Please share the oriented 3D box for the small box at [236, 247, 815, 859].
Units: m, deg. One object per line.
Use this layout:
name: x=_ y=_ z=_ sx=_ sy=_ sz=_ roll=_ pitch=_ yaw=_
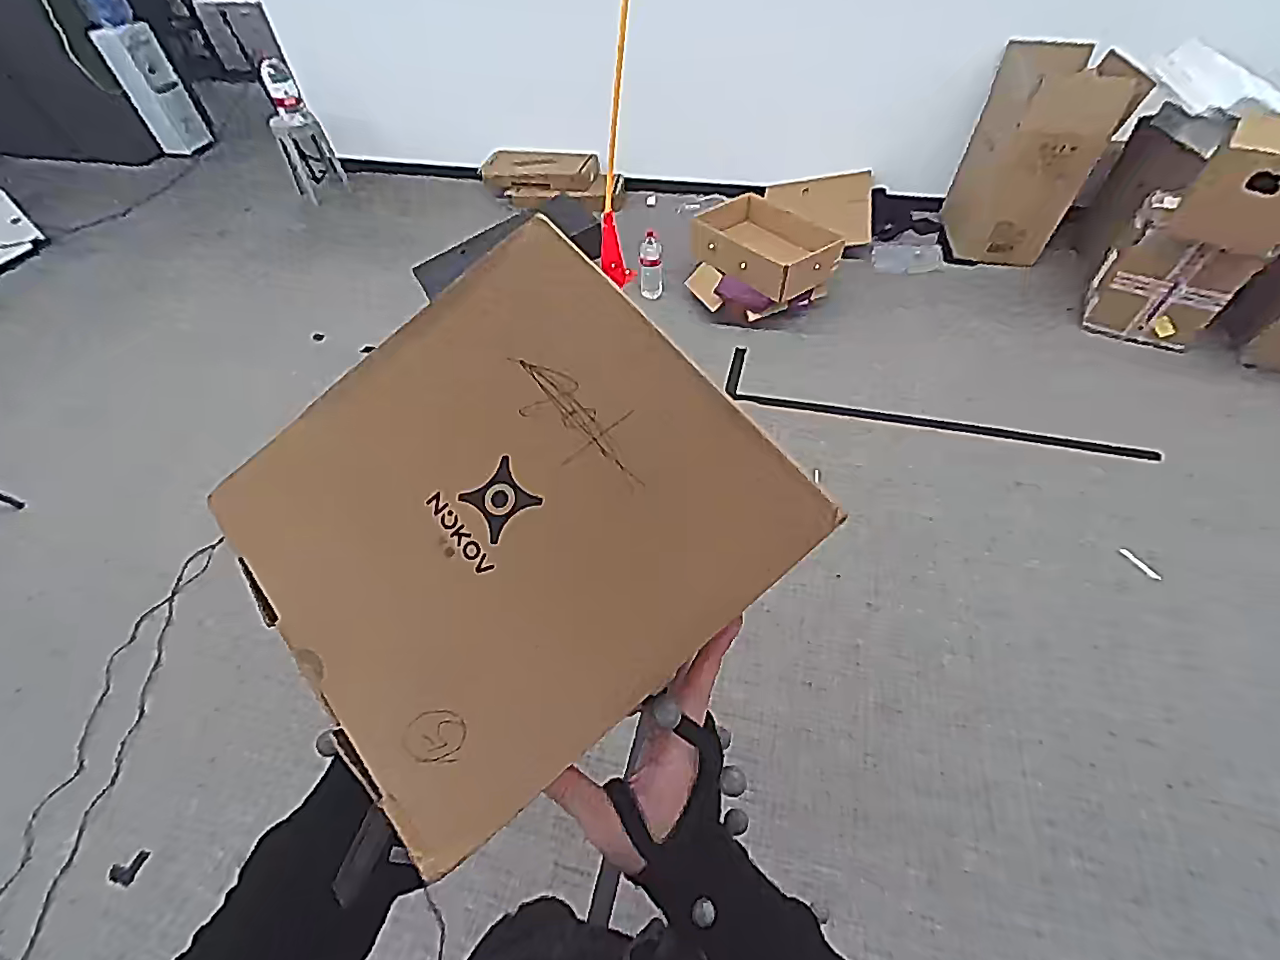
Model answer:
small box: x=-0.039 y=0.033 z=0.280 sx=0.179 sy=0.176 sz=0.168 roll=-42 pitch=75 yaw=-3
